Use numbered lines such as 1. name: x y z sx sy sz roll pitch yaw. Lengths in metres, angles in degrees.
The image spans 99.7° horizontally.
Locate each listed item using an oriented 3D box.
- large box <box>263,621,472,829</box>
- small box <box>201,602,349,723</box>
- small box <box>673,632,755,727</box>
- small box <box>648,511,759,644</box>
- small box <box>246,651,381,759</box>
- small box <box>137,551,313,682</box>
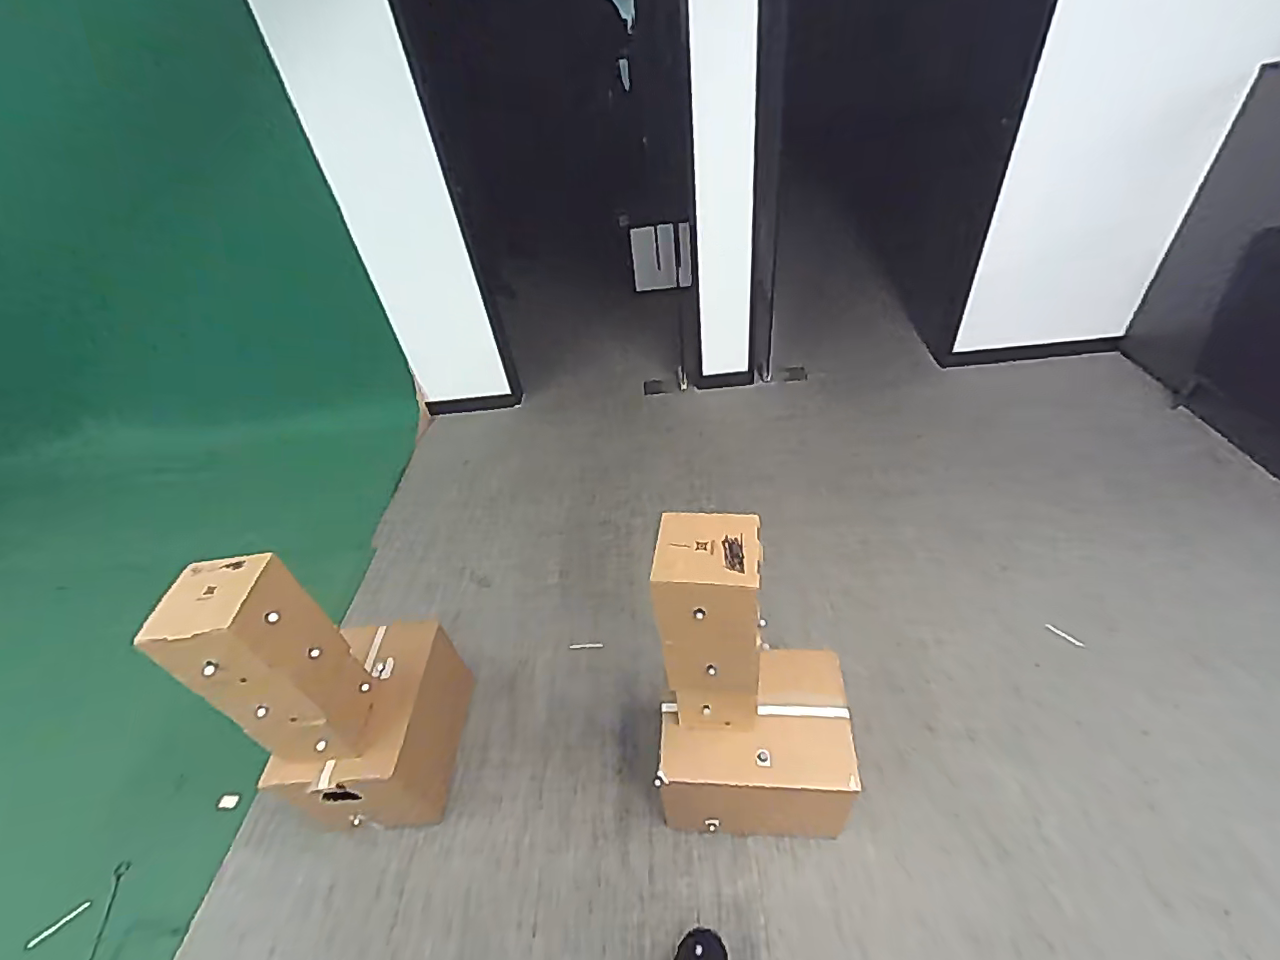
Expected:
1. large box: -0.679 0.643 1.435 0.320 0.320 0.408 -5 40 3
2. small box: -0.739 0.382 1.120 0.168 0.176 0.179 -9 40 -1
3. small box: 0.165 0.420 1.183 0.168 0.176 0.179 -1 40 8
4. small box: 0.121 0.175 0.967 0.179 0.176 0.168 1 40 12
5. small box: -0.721 0.509 1.223 0.179 0.176 0.168 -7 41 3
6. small box: -0.755 0.260 1.011 0.168 0.176 0.179 -7 41 1
